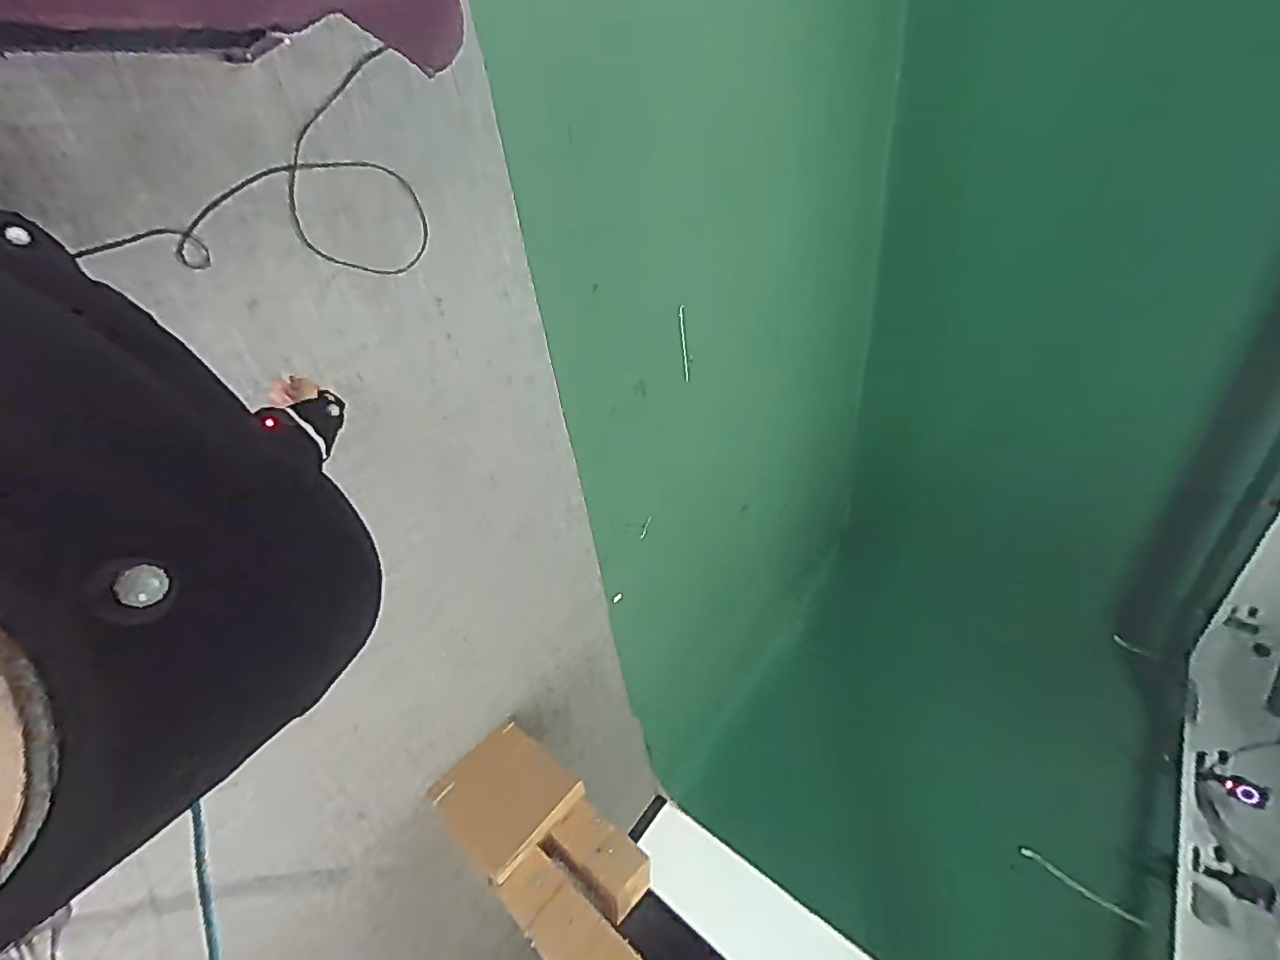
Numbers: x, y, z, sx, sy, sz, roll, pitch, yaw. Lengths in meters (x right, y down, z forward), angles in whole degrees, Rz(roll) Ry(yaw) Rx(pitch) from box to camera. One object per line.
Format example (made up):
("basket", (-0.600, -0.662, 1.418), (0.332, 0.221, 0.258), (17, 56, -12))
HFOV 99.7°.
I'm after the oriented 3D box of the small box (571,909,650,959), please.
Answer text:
("small box", (-0.089, 1.482, 1.663), (0.179, 0.176, 0.168), (-36, 131, -36))
